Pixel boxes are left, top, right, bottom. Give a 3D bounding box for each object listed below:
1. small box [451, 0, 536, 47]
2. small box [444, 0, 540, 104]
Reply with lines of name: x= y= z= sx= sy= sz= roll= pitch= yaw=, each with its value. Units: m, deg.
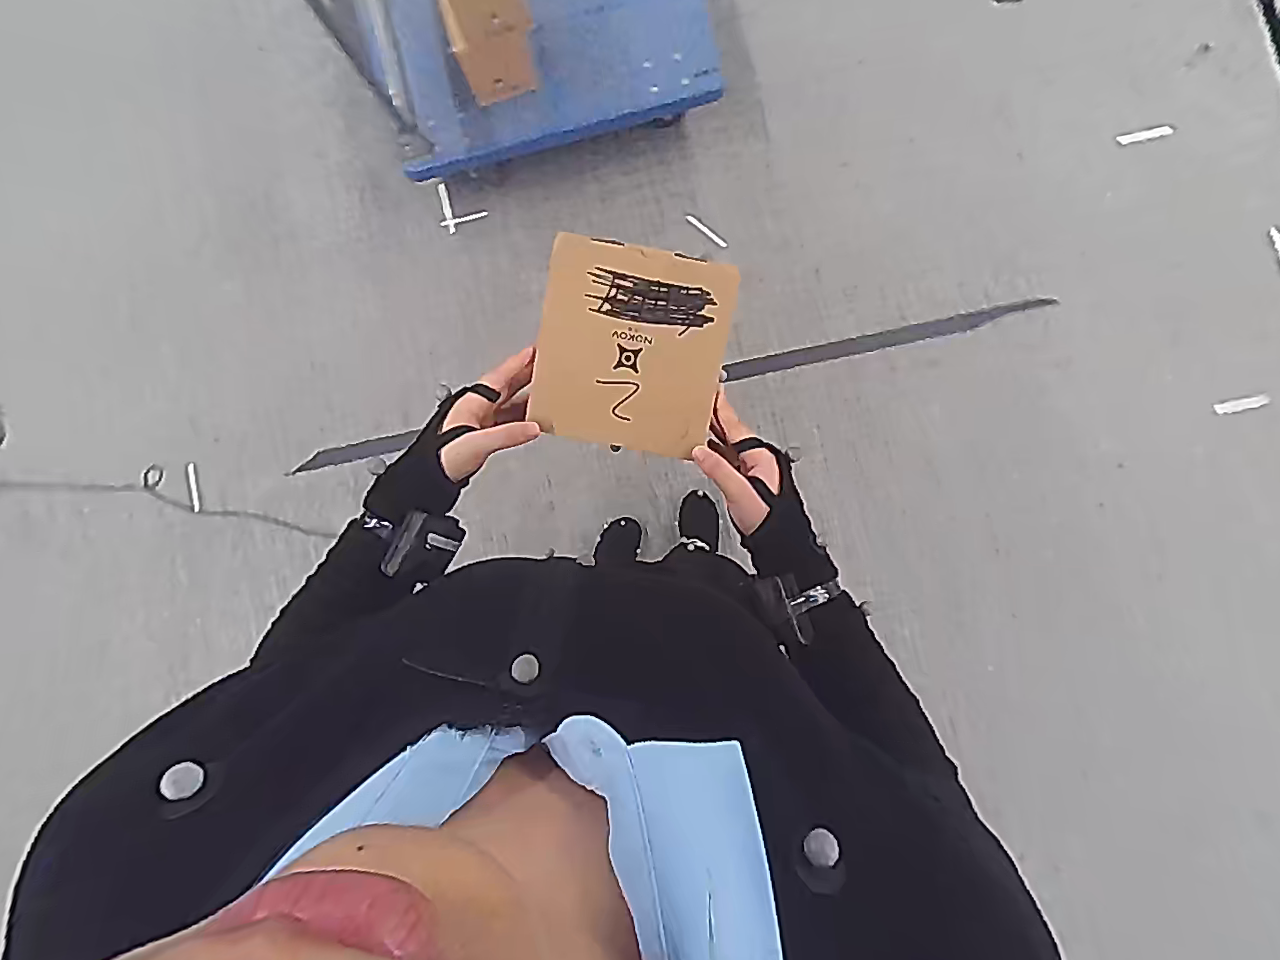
small box: x=-0.334 y=-1.086 z=1.149 sx=0.168 sy=0.176 sz=0.179 roll=-17 pitch=87 yaw=0
small box: x=-0.356 y=-1.070 z=1.313 sx=0.168 sy=0.176 sz=0.179 roll=-18 pitch=87 yaw=0
